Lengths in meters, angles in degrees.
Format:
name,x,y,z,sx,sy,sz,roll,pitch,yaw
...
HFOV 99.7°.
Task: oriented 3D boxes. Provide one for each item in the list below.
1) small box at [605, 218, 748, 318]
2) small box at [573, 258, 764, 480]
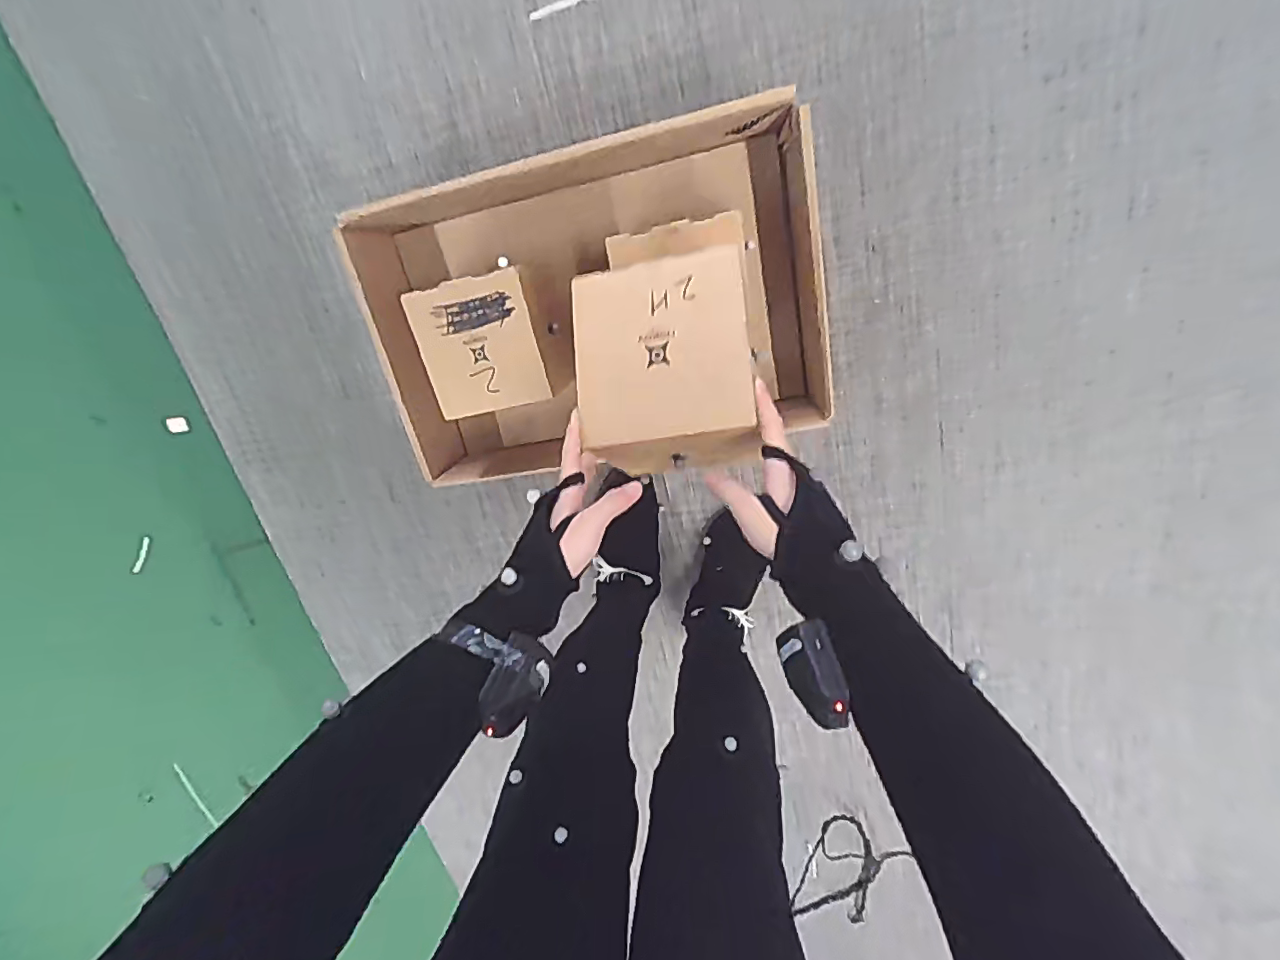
name,x,y,z,sx,sy,sz,roll,pitch,yaw
small box,0.062,-0.249,0.747,0.168,0.176,0.179,-8,110,11
small box,0.038,-0.099,0.578,0.168,0.176,0.179,-6,78,15
